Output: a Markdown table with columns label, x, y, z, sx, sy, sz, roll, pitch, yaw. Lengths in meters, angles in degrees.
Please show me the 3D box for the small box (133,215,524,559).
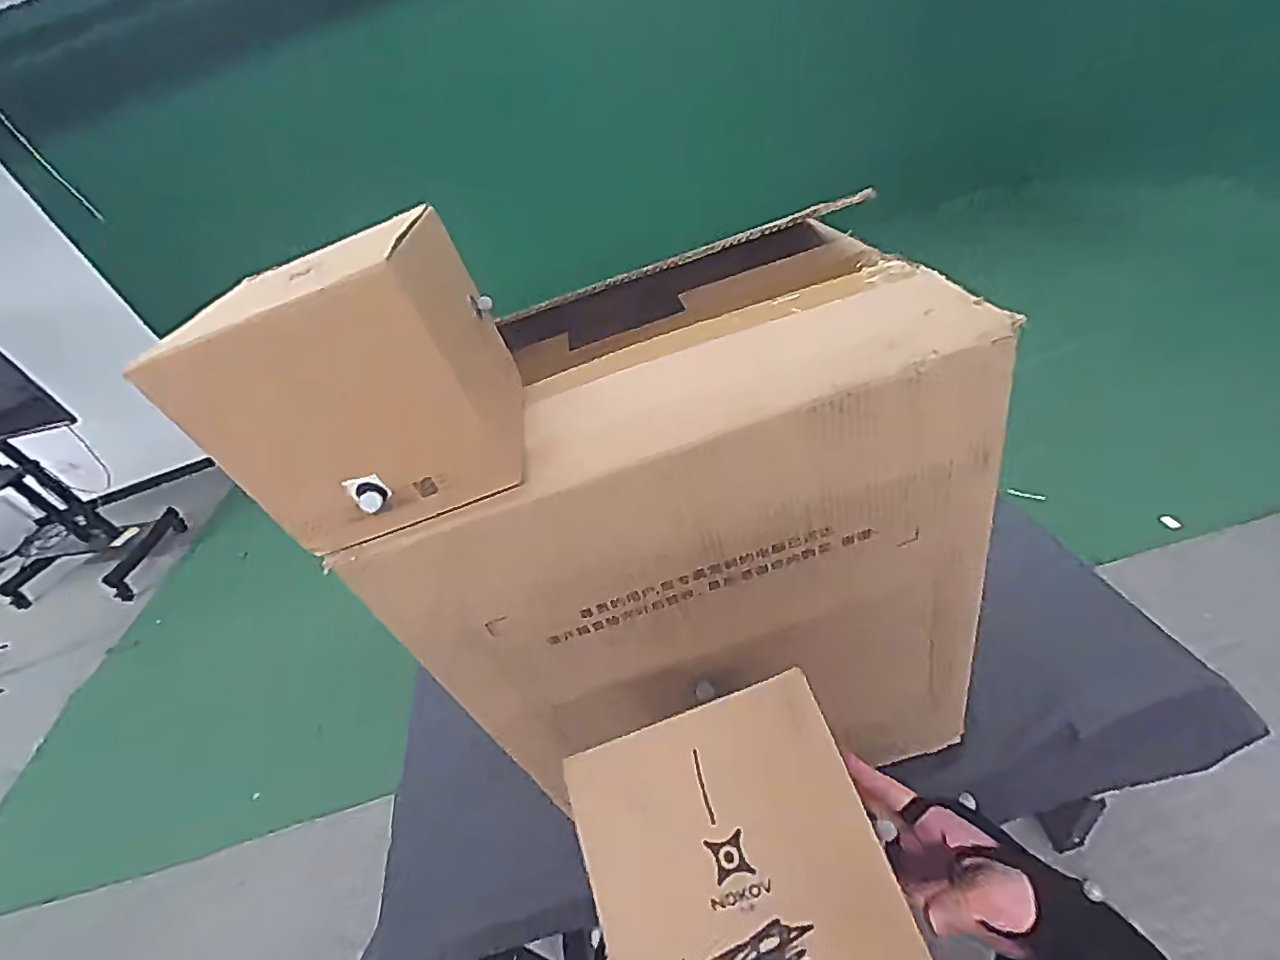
| label | x | y | z | sx | sy | sz | roll | pitch | yaw |
| --- | --- | --- | --- | --- | --- | --- | --- | --- | --- |
| small box | -0.199 | -0.073 | 0.412 | 0.168 | 0.176 | 0.179 | -22 | 38 | 2 |
